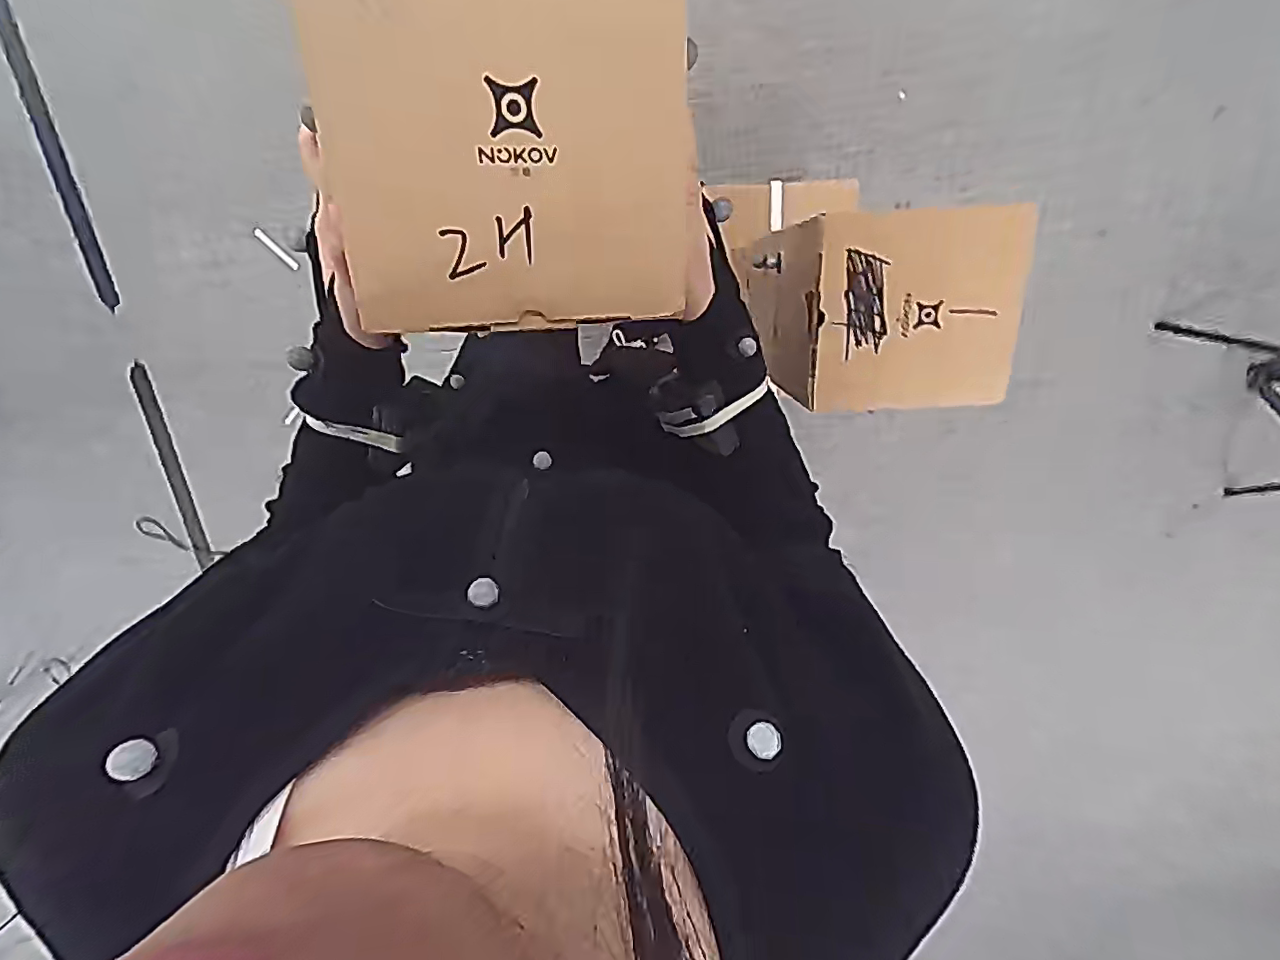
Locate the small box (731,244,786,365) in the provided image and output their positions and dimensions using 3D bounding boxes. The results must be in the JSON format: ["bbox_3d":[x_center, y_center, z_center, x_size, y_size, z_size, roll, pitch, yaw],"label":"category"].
[{"bbox_3d":[0.243,-0.279,0.845,0.179,0.176,0.168,-4,110,3],"label":"small box"}]

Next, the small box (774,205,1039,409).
[{"bbox_3d":[0.237,-0.168,0.536,0.179,0.176,0.168,-2,110,1],"label":"small box"}]

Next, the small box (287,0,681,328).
[{"bbox_3d":[-0.078,-0.190,0.318,0.168,0.176,0.179,-7,113,-10],"label":"small box"}]
